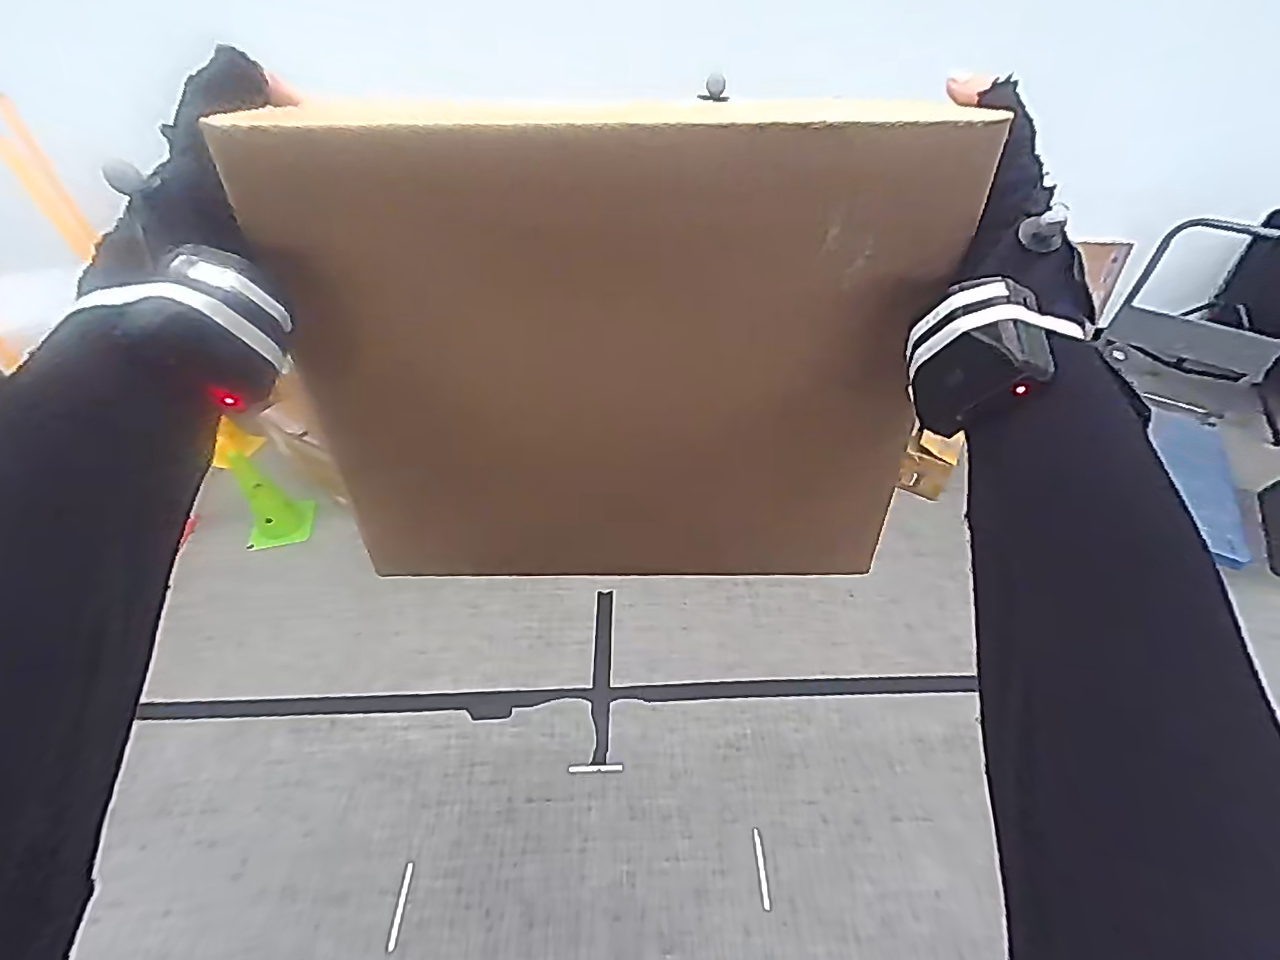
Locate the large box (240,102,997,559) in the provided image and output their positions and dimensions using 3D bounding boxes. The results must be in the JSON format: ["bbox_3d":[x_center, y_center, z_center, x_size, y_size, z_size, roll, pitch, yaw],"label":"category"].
[{"bbox_3d":[-0.013,-0.141,0.483,0.408,0.320,0.320,1,35,0],"label":"large box"}]
